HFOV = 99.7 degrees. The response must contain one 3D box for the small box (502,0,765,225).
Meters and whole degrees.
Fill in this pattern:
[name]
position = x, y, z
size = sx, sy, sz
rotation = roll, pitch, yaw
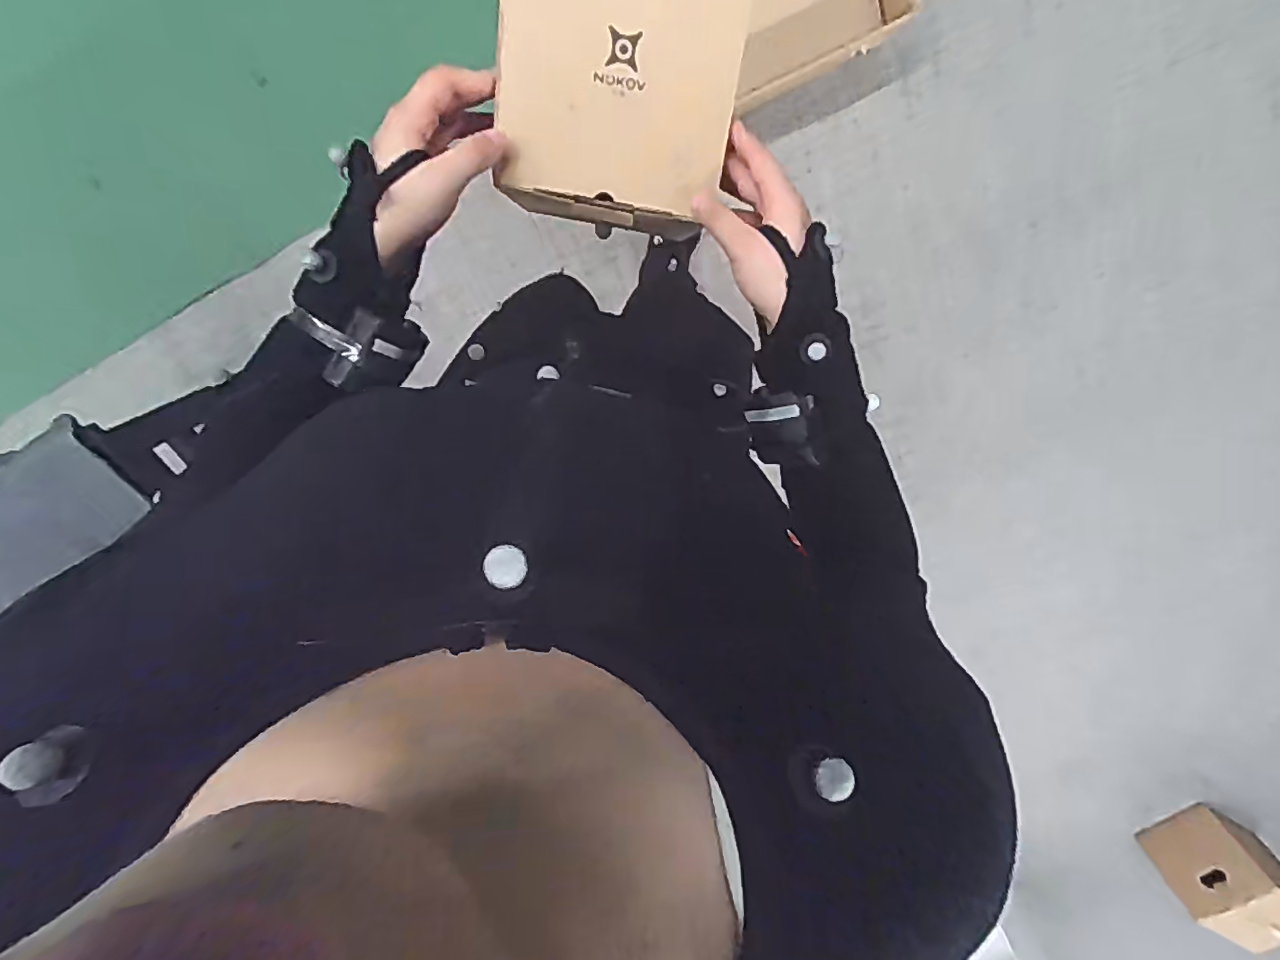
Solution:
[small box]
position = -0.008, -0.314, 0.435
size = 0.168, 0.176, 0.179
rotation = 7, 111, -6
